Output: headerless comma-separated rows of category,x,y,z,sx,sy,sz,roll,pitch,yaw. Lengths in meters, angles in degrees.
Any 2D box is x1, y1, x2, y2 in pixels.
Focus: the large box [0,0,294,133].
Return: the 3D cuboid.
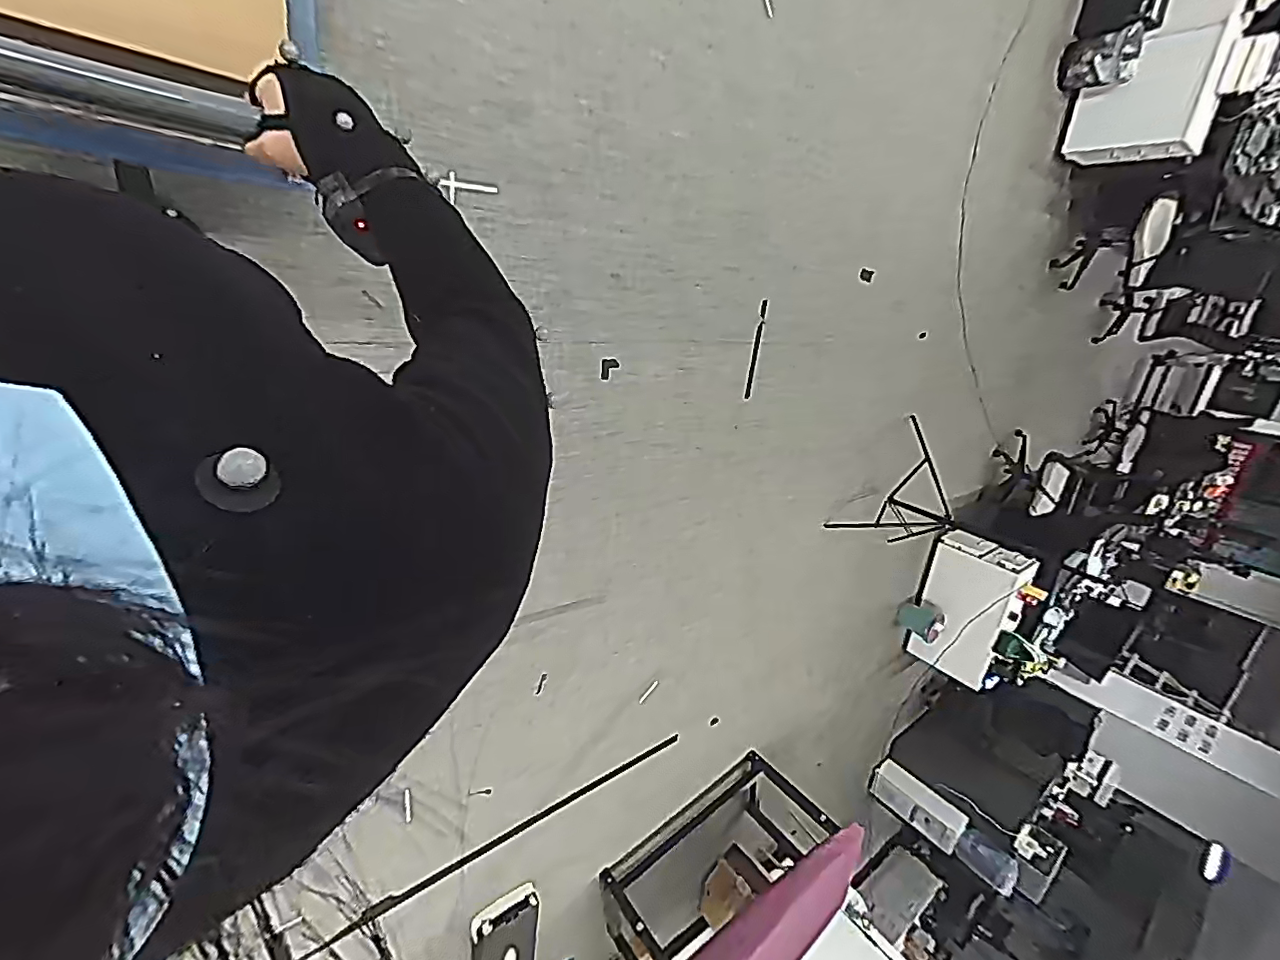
large box,-0.711,-0.688,0.685,0.408,0.320,0.320,-8,115,-39
